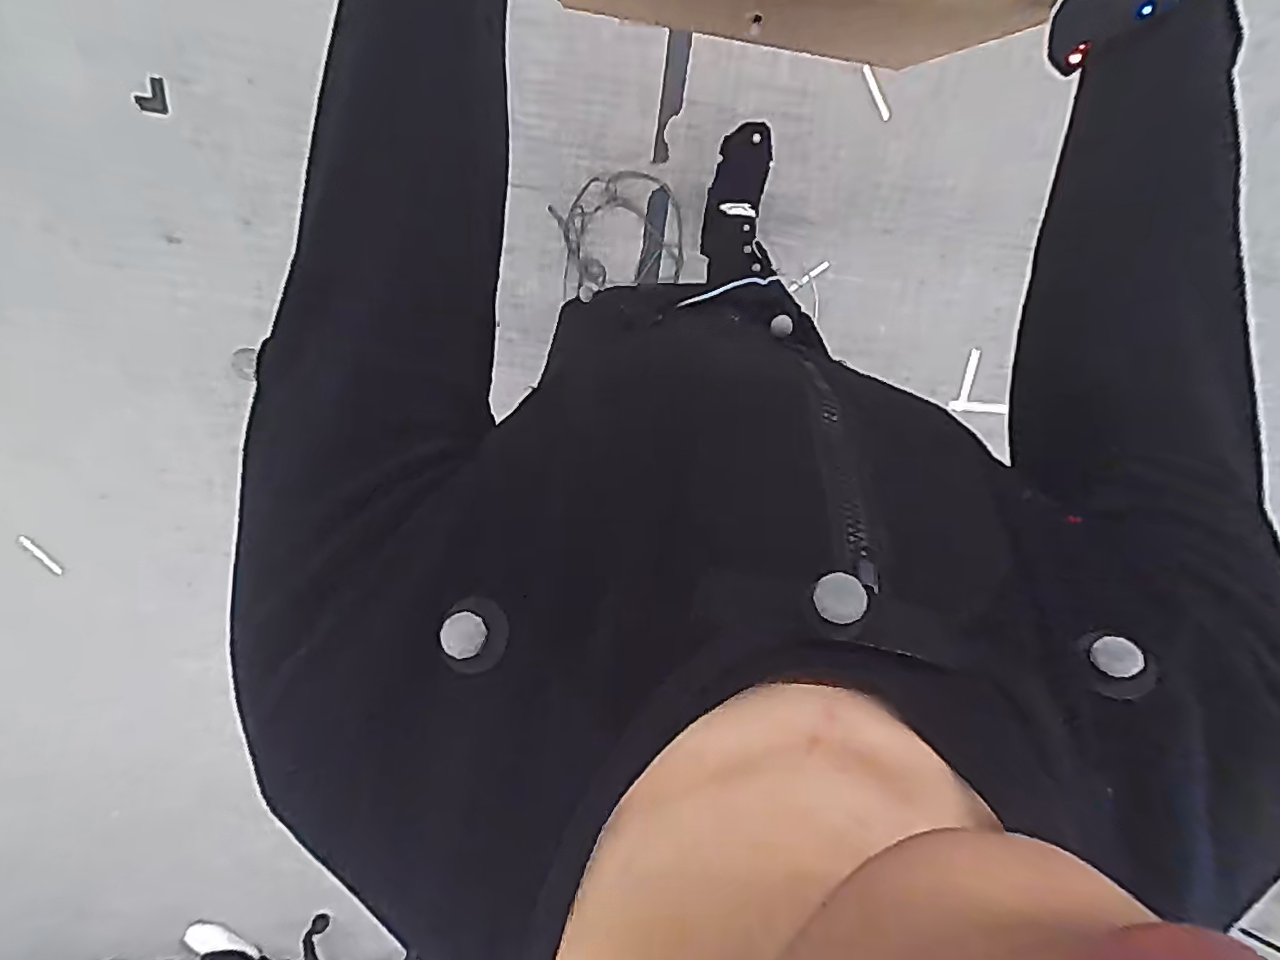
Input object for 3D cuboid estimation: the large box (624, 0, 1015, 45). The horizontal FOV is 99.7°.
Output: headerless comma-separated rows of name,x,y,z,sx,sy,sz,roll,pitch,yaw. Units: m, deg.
large box,0.132,-0.578,0.419,0.408,0.320,0.320,8,120,-3
